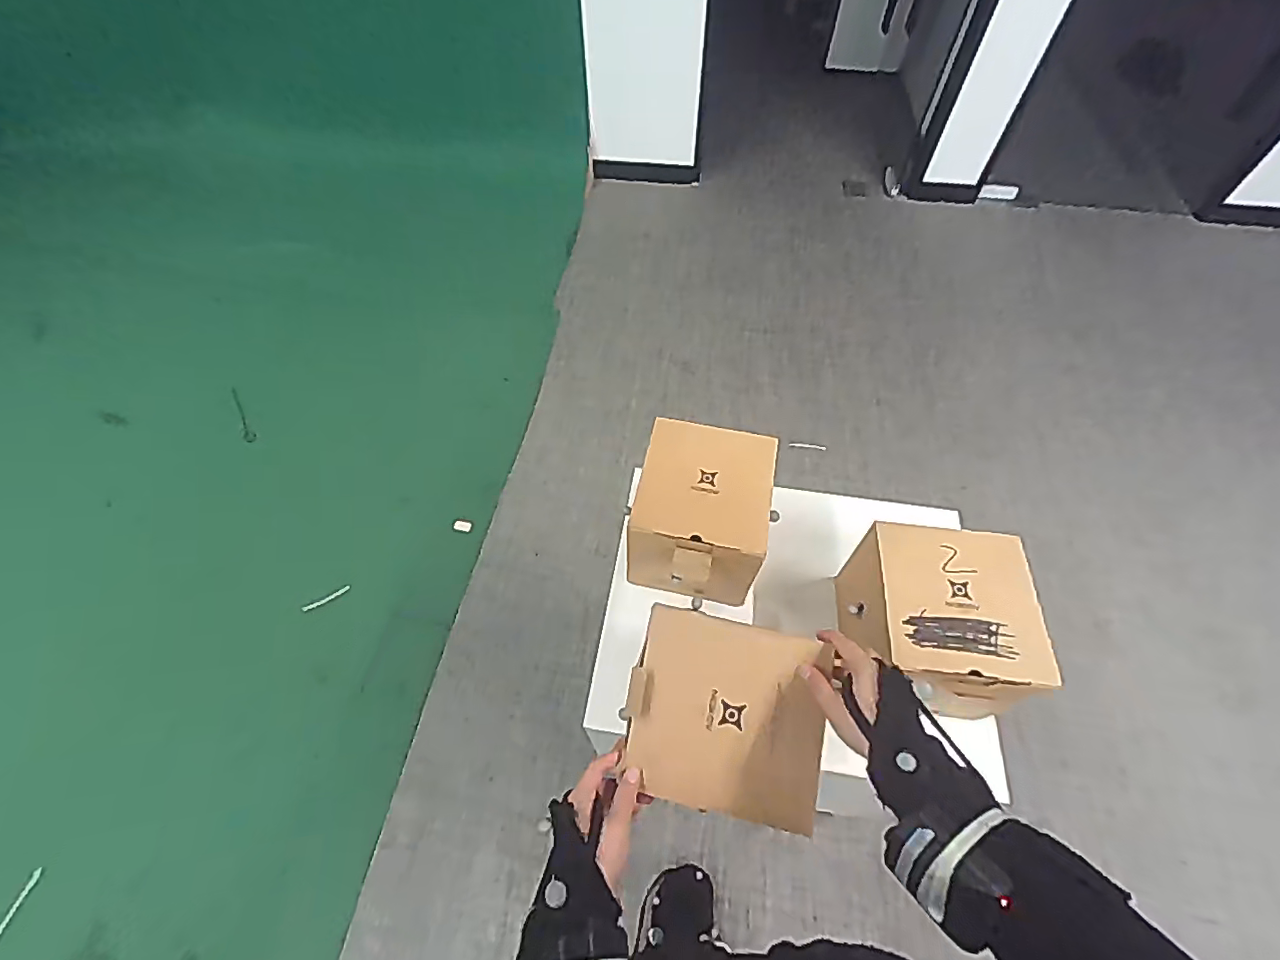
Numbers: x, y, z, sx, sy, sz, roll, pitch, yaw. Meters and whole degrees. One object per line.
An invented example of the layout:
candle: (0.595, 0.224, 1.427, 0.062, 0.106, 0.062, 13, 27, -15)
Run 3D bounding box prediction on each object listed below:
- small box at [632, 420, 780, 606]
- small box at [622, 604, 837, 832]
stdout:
small box: (0.084, 0.049, 0.737, 0.168, 0.176, 0.179, 11, 58, 6)
small box: (0.089, 0.231, 0.570, 0.179, 0.176, 0.168, 10, 77, 6)
